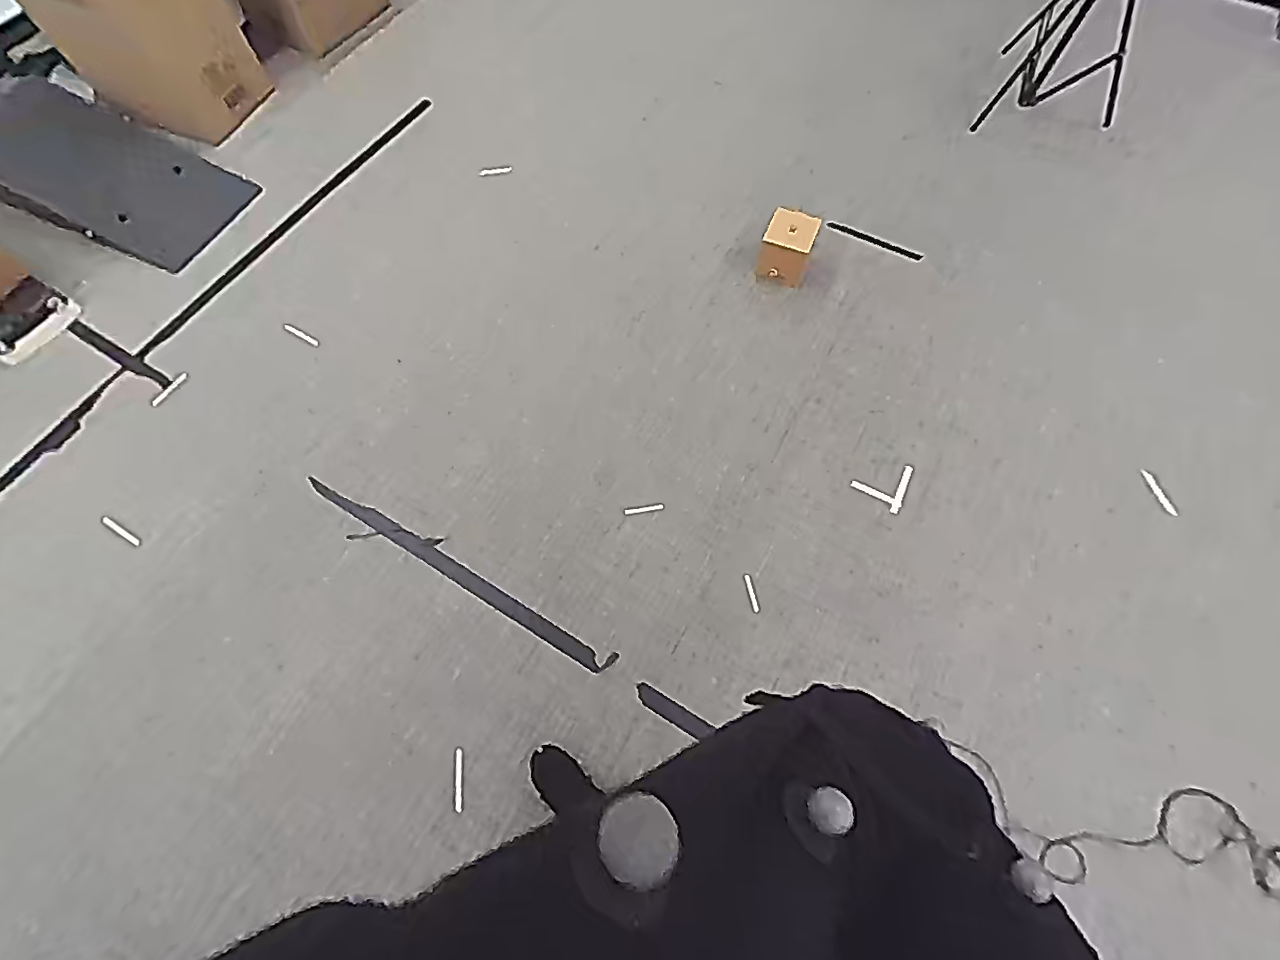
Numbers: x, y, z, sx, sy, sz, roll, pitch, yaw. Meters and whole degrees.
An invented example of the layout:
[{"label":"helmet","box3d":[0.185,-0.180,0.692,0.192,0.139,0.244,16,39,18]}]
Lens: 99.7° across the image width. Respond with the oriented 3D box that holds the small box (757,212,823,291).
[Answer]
[{"label":"small box","box3d":[0.536,-0.821,1.949,0.168,0.176,0.179,22,69,10]}]
